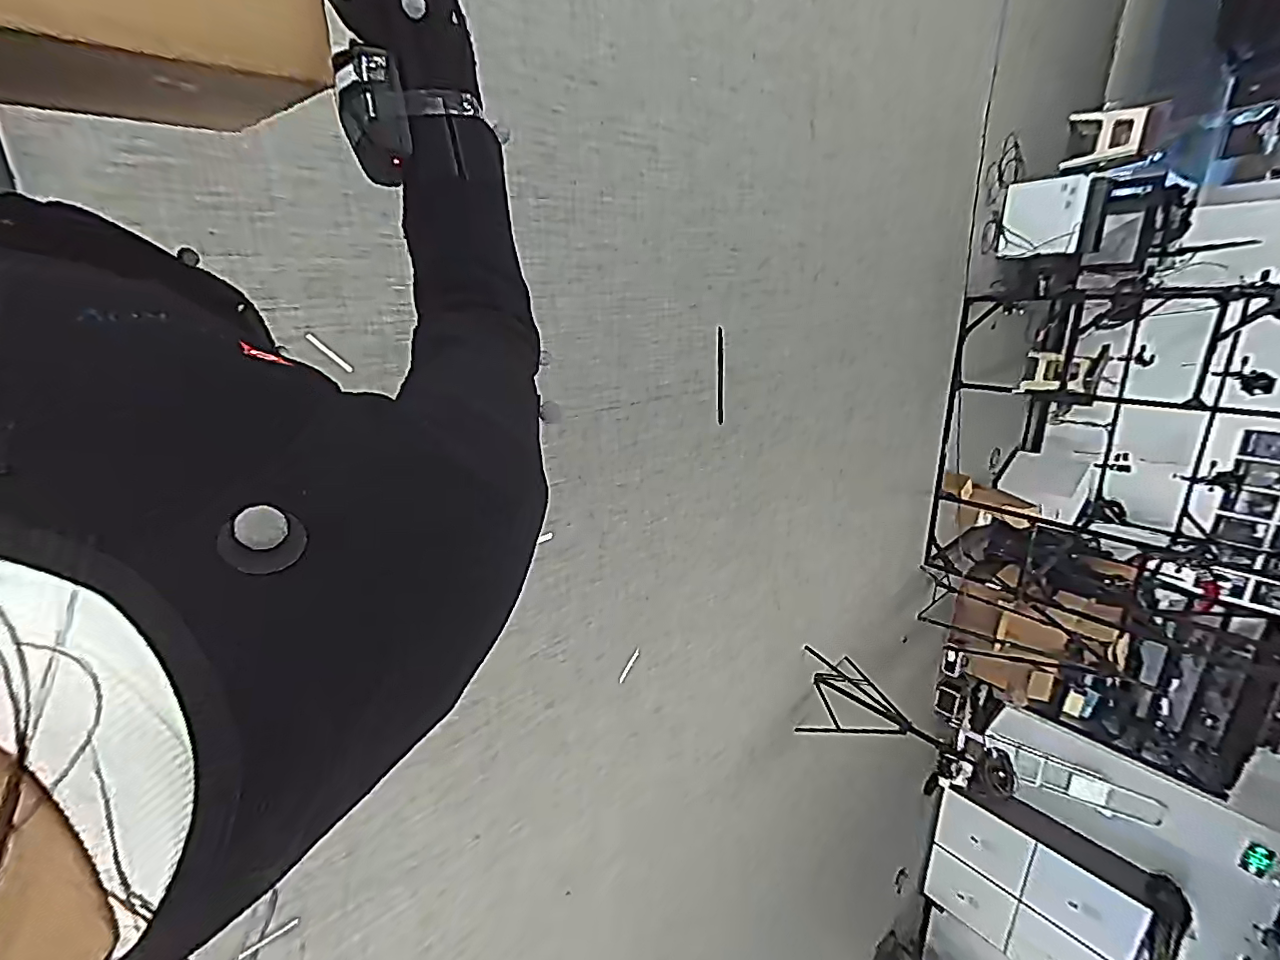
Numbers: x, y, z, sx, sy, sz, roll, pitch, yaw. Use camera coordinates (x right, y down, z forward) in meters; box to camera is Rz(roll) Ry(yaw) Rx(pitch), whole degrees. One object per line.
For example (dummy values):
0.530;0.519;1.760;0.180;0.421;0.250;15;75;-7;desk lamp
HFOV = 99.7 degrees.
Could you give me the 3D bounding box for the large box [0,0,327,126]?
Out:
-0.440;-0.381;0.251;0.408;0.320;0.320;-21;124;-39;large box
